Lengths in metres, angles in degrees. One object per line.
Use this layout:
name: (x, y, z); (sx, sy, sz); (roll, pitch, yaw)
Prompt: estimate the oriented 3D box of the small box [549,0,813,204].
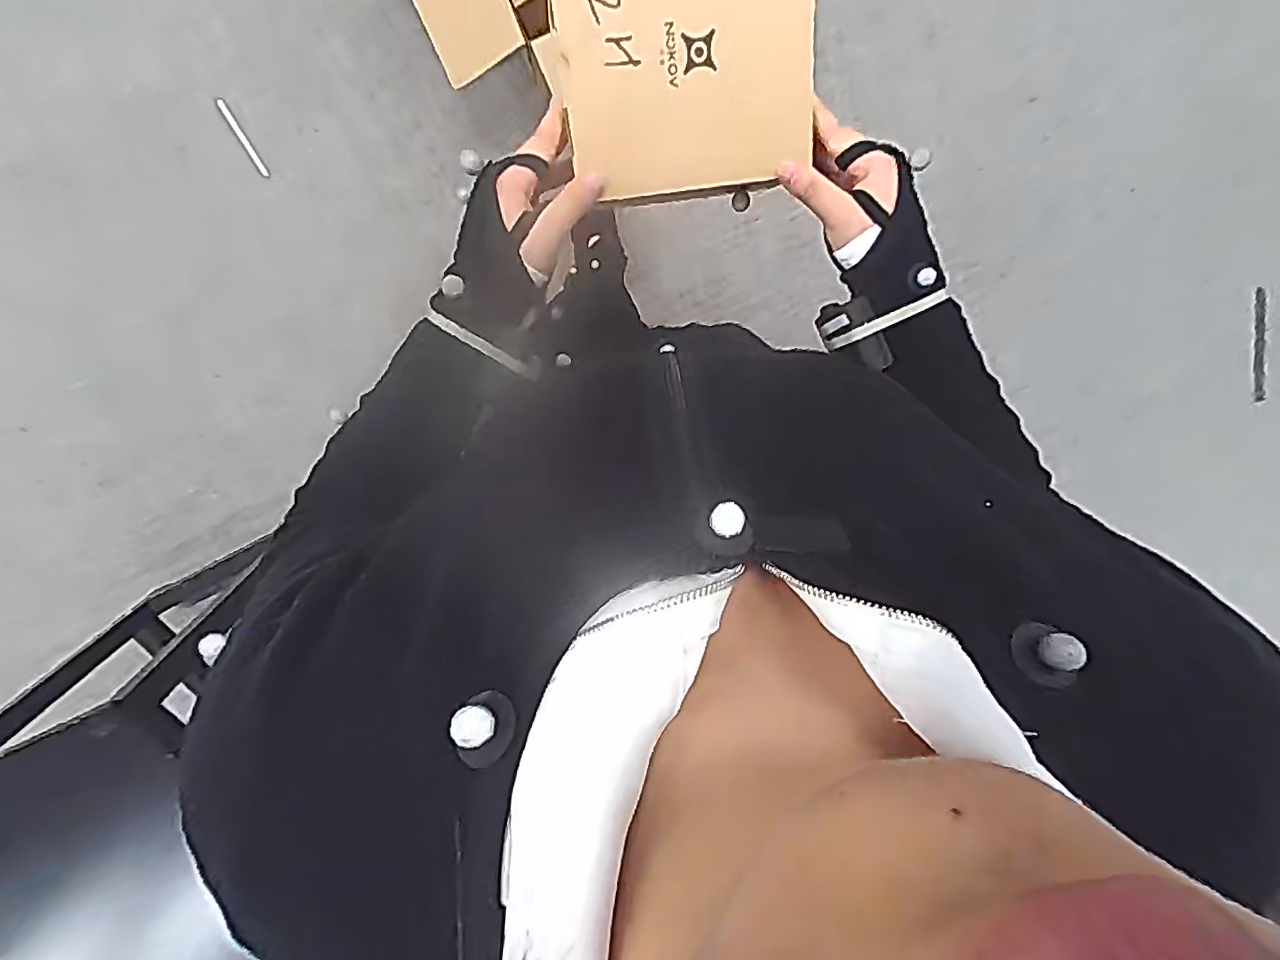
small box: (0.026, -0.325, 0.436); (0.179, 0.176, 0.168); (-7, 114, 1)
